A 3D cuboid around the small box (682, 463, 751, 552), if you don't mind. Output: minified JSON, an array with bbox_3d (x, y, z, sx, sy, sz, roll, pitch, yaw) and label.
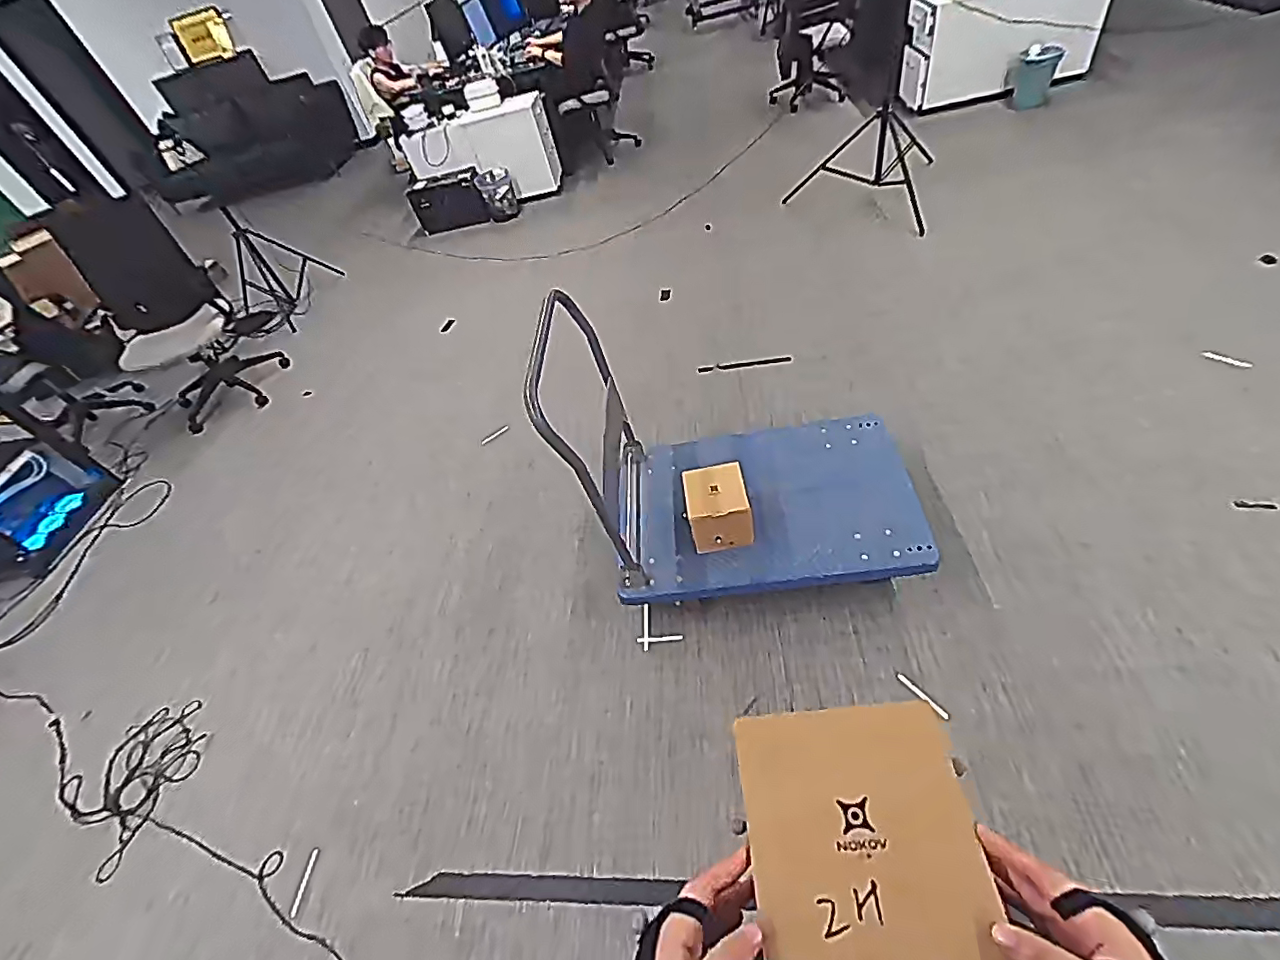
[{"bbox_3d":[0.219,0.081,1.544,0.168,0.176,0.179,-11,48,6],"label":"small box"}]

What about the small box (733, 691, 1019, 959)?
[{"bbox_3d":[0.179,0.304,0.469,0.168,0.176,0.179,-10,51,10],"label":"small box"}]
